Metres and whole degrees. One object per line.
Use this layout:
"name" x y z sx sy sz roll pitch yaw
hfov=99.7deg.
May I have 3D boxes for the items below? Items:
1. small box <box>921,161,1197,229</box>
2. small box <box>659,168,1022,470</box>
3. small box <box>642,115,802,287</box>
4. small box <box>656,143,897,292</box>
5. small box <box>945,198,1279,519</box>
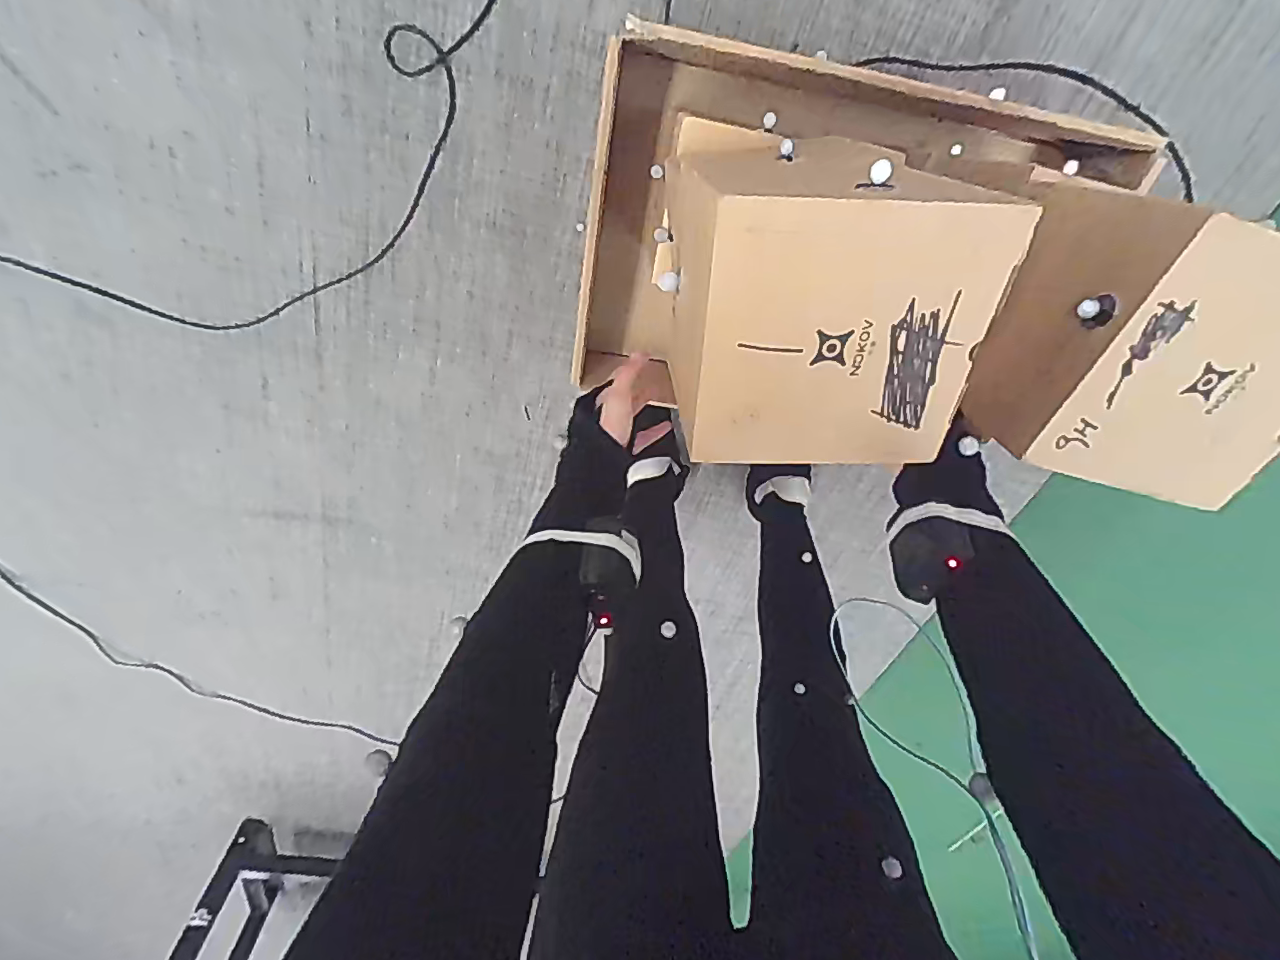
"small box" 0.358 -0.202 0.542 0.168 0.176 0.179 10 124 -7
"small box" 0.111 -0.122 0.392 0.179 0.176 0.168 0 126 -3
"small box" 0.101 -0.324 0.648 0.179 0.176 0.168 7 126 -9
"small box" 0.114 -0.218 0.525 0.179 0.176 0.168 -6 126 1
"small box" 0.356 -0.098 0.413 0.179 0.176 0.168 13 123 -10
